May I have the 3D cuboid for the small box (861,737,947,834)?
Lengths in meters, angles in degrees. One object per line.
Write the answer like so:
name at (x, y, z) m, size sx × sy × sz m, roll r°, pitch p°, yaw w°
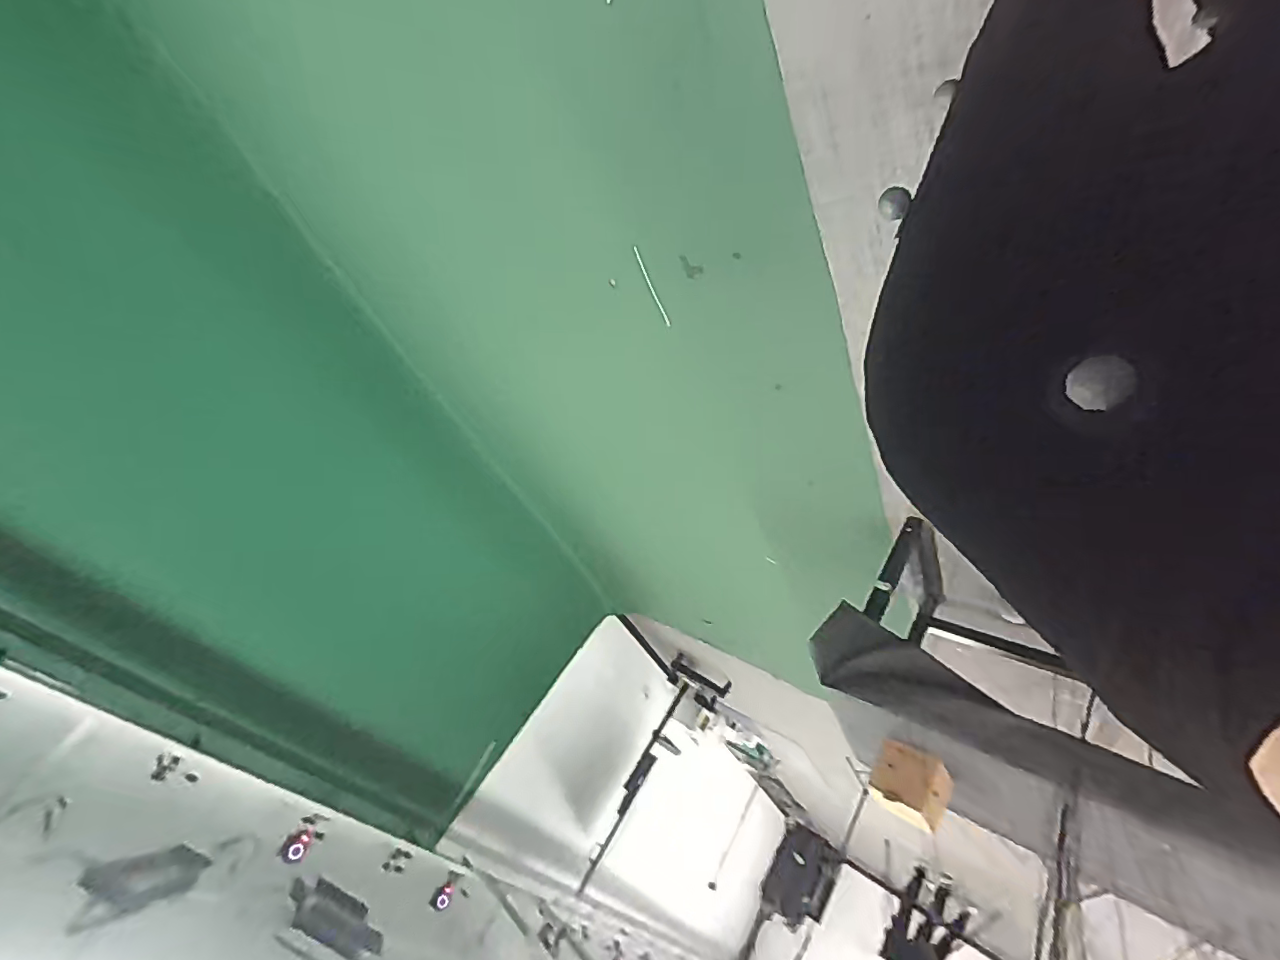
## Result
small box at (0.800, 0.913, 1.631) m, size 0.168 × 0.176 × 0.179 m, roll 7°, pitch 142°, yaw 50°
